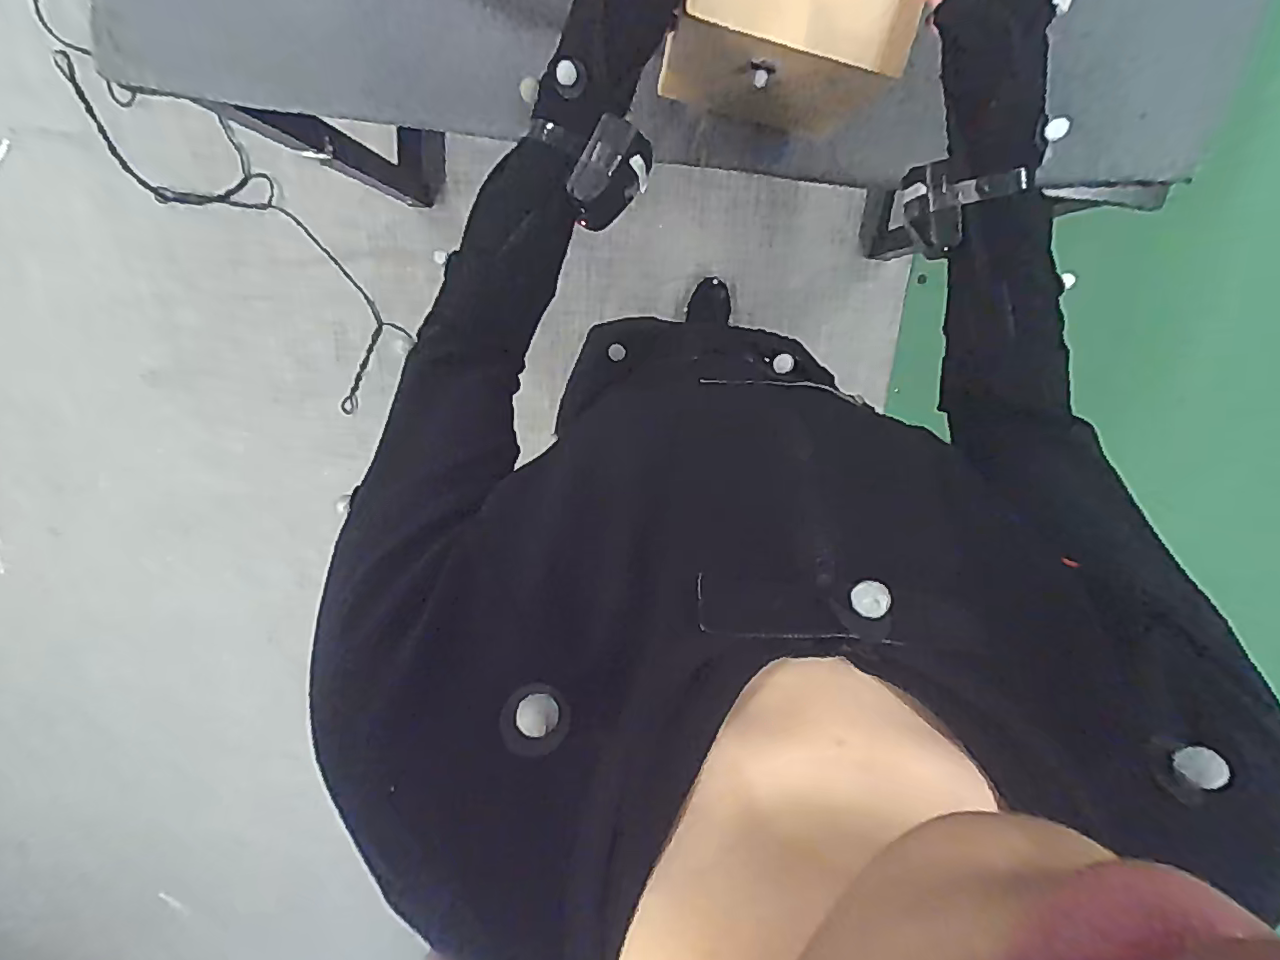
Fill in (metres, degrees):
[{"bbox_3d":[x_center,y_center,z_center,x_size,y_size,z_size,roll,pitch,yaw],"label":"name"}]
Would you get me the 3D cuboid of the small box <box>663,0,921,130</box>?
[{"bbox_3d":[0.123,-0.421,0.451,0.179,0.176,0.168,10,108,-8],"label":"small box"}]
